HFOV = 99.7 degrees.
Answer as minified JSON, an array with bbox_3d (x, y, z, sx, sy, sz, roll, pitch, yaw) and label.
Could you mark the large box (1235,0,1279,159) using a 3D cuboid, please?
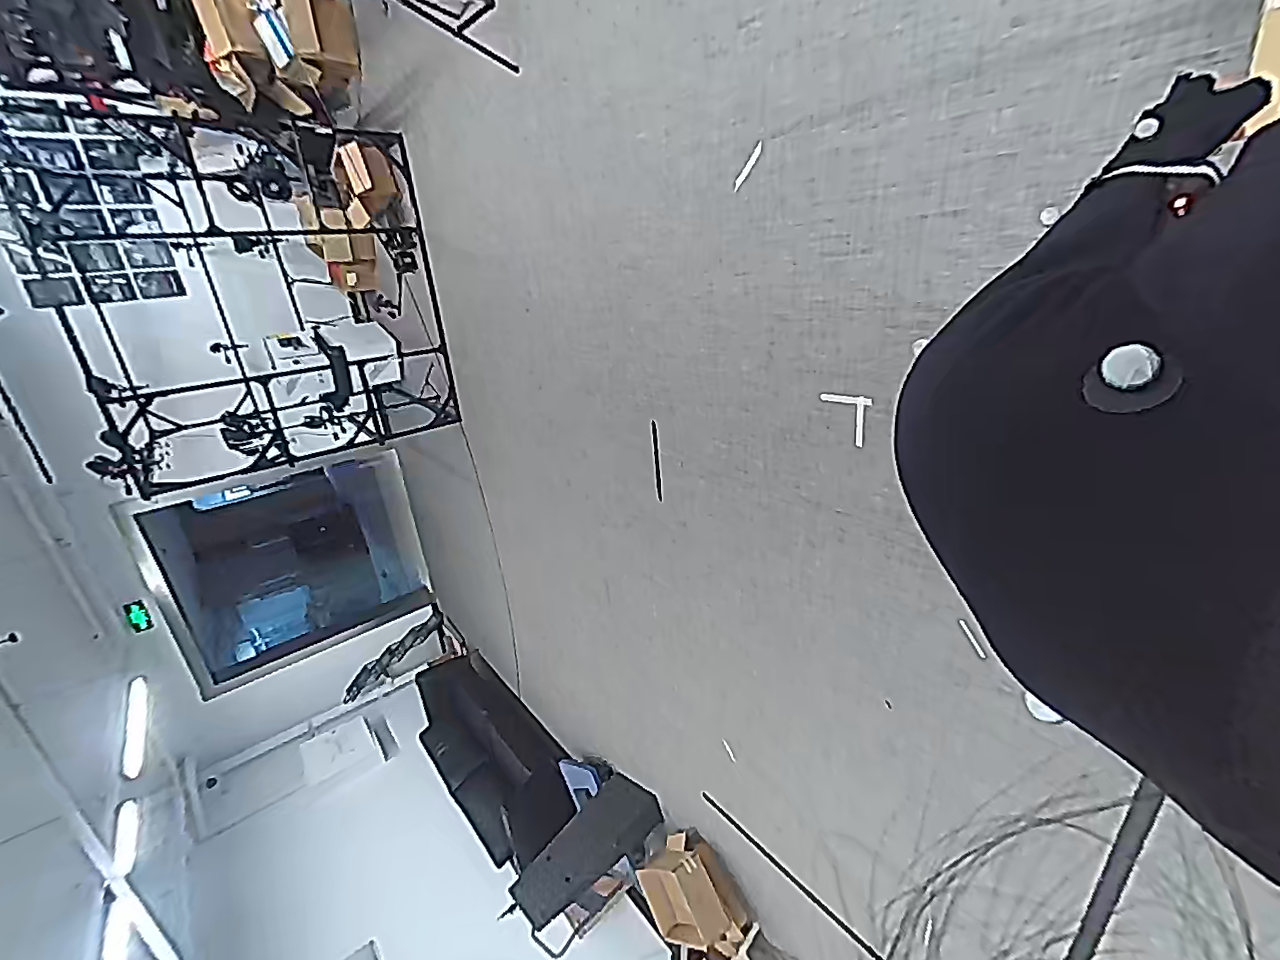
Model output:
[{"bbox_3d":[1.060,-0.619,0.653,0.408,0.320,0.320,18,120,48],"label":"large box"}]
